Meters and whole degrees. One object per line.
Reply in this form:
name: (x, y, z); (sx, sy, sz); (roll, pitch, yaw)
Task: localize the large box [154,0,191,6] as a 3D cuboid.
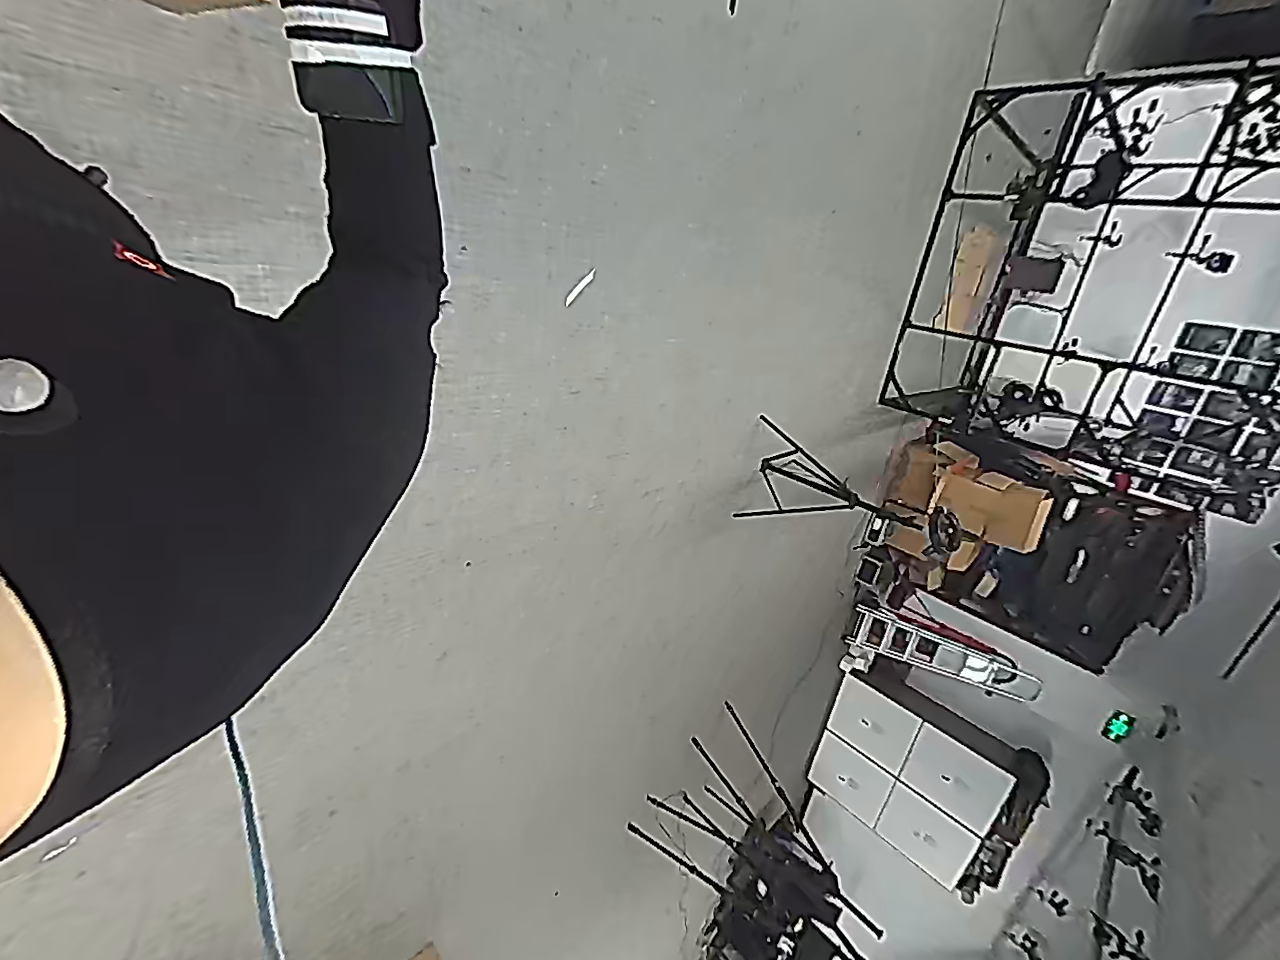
large box: (-0.412, -0.477, 0.208); (0.408, 0.320, 0.320); (-7, 123, -47)
